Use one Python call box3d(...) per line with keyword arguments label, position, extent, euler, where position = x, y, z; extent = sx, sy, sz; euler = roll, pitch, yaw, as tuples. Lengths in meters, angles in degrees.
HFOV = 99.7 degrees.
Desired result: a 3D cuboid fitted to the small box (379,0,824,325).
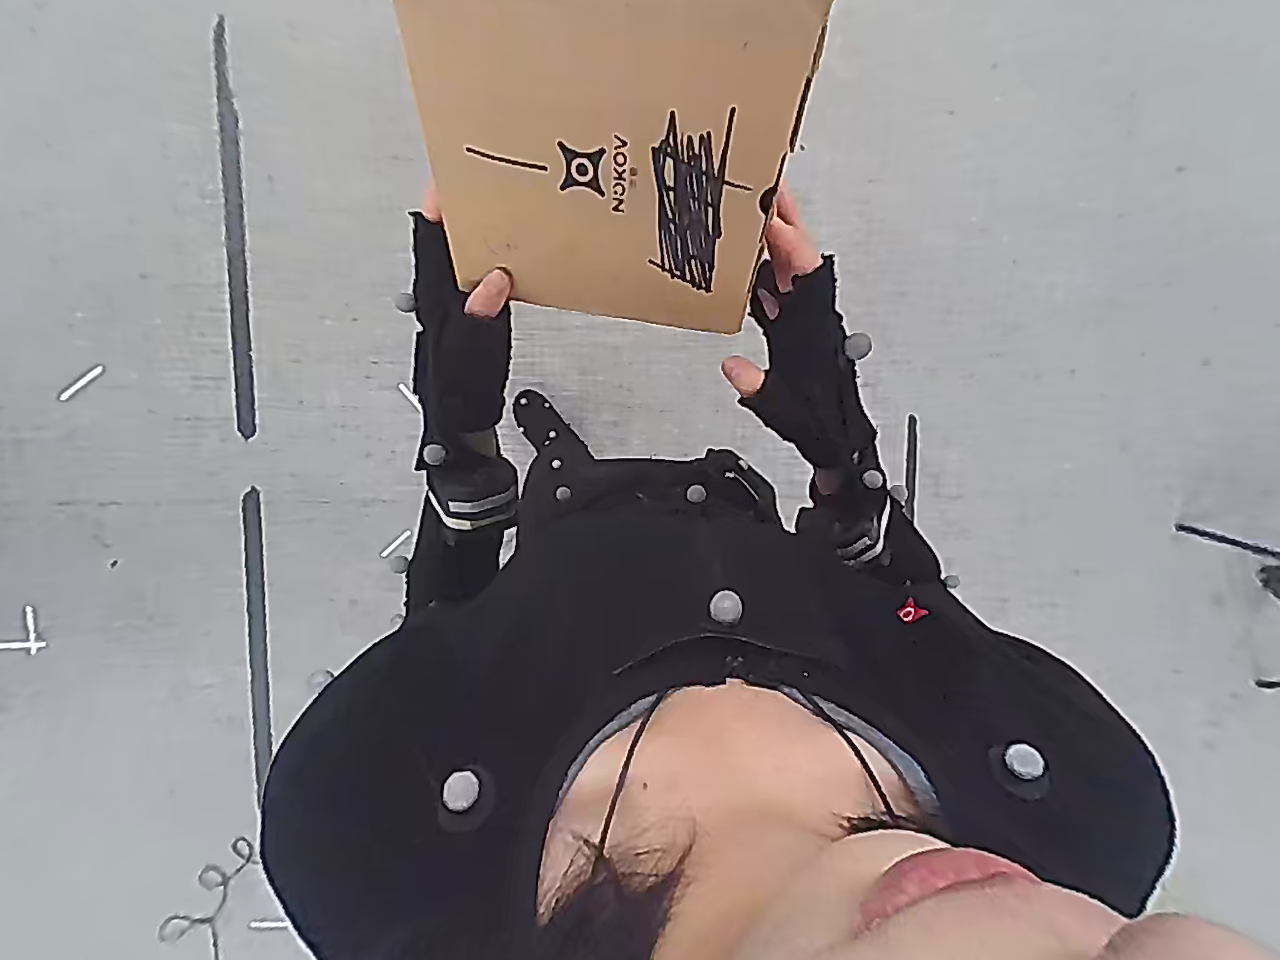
box3d(label="small box", position=(-0.011, -0.216, 0.301), extent=(0.179, 0.168, 0.176), euler=(10, 54, 2))
